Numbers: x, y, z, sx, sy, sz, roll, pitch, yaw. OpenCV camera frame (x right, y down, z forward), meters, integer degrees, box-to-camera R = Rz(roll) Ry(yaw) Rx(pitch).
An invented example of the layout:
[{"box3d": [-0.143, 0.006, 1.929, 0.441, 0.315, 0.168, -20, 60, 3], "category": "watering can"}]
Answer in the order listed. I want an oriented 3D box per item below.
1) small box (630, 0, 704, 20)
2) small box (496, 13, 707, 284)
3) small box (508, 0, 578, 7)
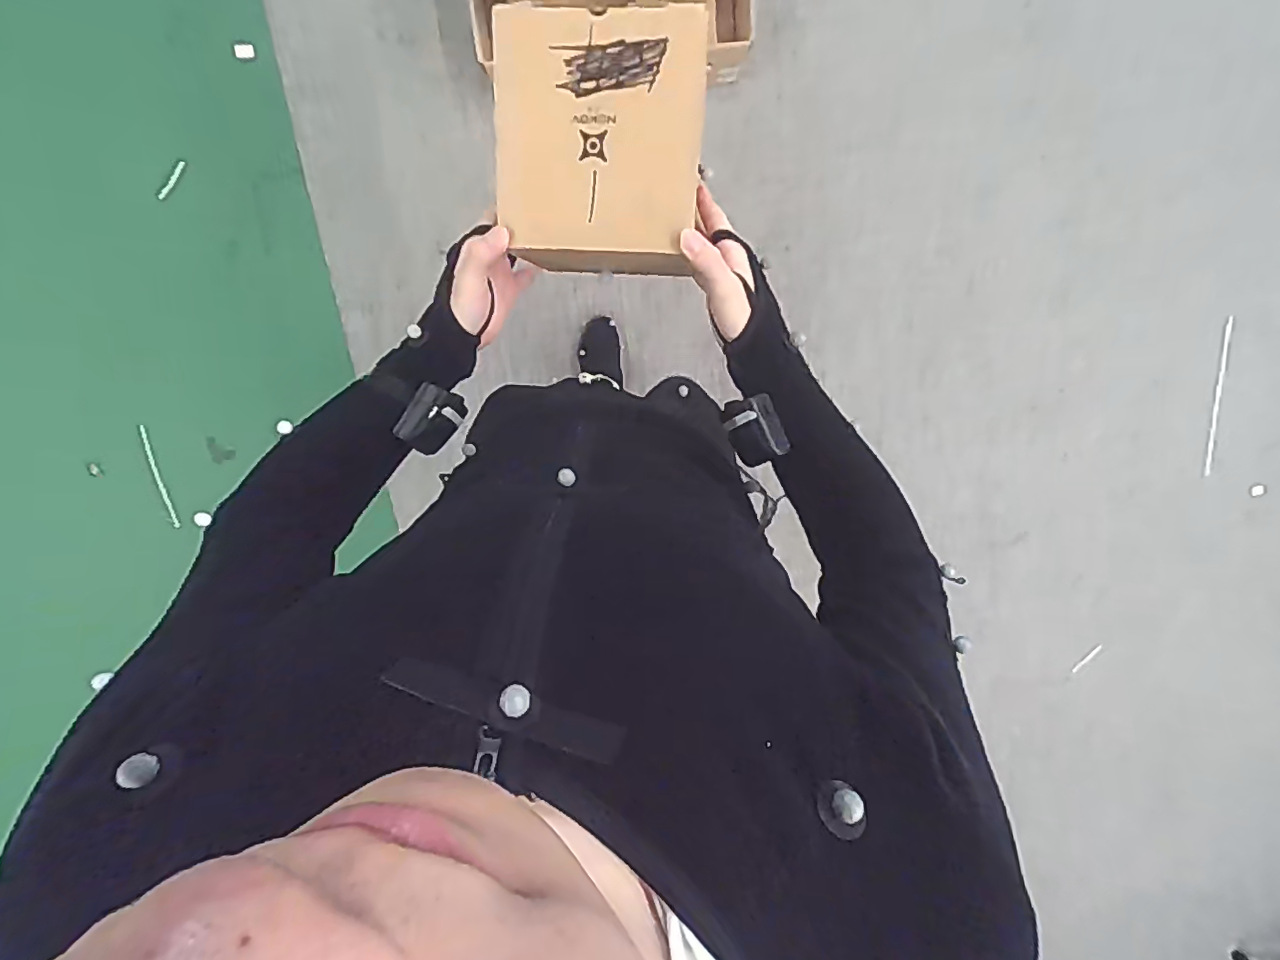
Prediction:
[{"box3d": [0.059, -1.142, 1.201, 0.168, 0.176, 0.179, -4, 105, 0], "category": "small box"}, {"box3d": [-0.029, -0.291, 0.512, 0.168, 0.176, 0.179, 5, 105, 5], "category": "small box"}, {"box3d": [-0.205, -1.066, 1.040, 0.168, 0.176, 0.179, -6, 105, -1], "category": "small box"}]
